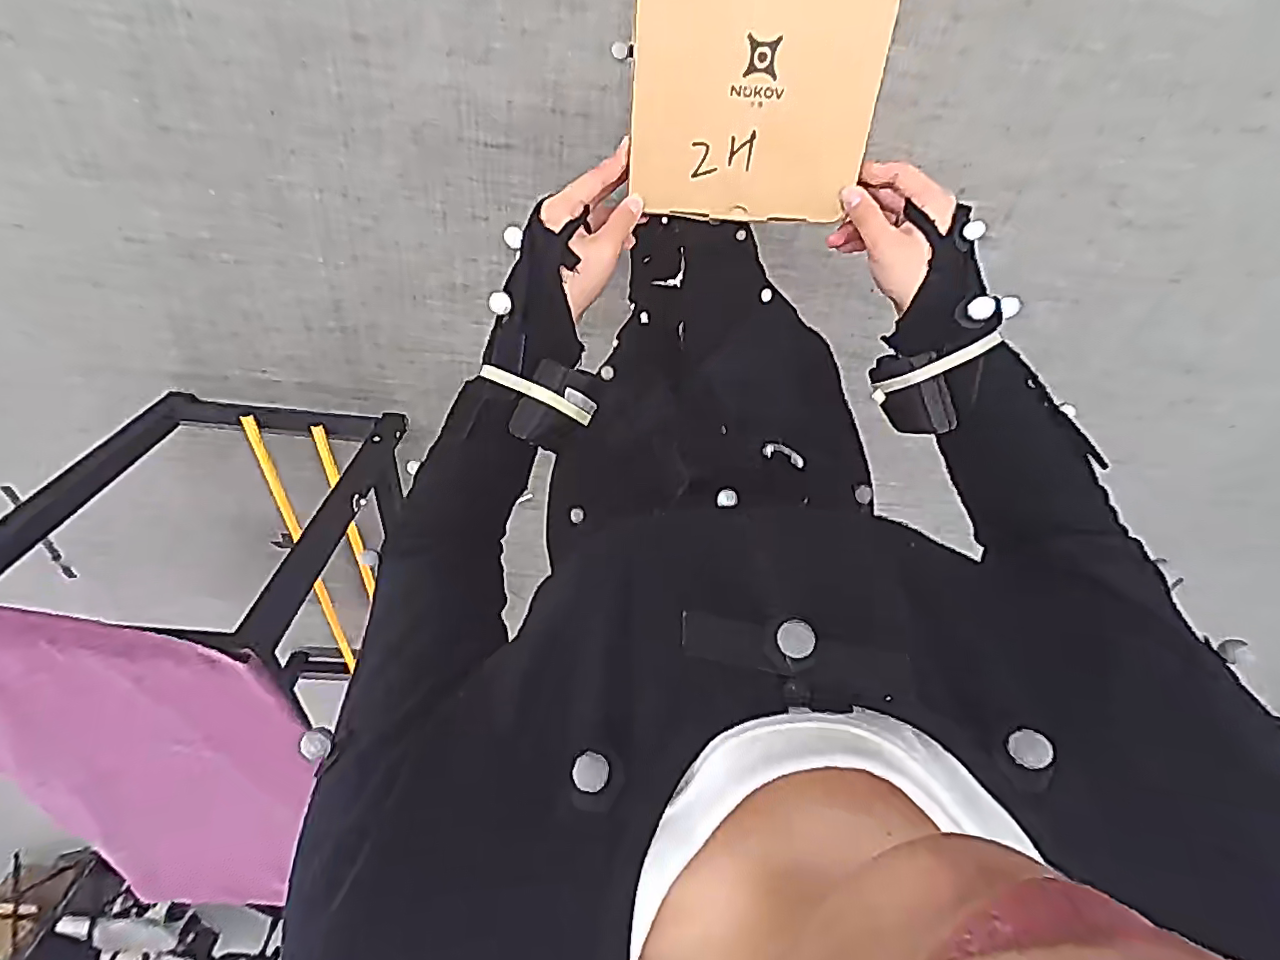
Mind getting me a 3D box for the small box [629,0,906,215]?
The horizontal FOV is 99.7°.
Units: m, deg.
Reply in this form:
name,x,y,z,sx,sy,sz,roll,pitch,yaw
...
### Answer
name,x,y,z,sx,sy,sz,roll,pitch,yaw
small box,0.078,-0.313,0.414,0.168,0.176,0.179,2,122,-3
